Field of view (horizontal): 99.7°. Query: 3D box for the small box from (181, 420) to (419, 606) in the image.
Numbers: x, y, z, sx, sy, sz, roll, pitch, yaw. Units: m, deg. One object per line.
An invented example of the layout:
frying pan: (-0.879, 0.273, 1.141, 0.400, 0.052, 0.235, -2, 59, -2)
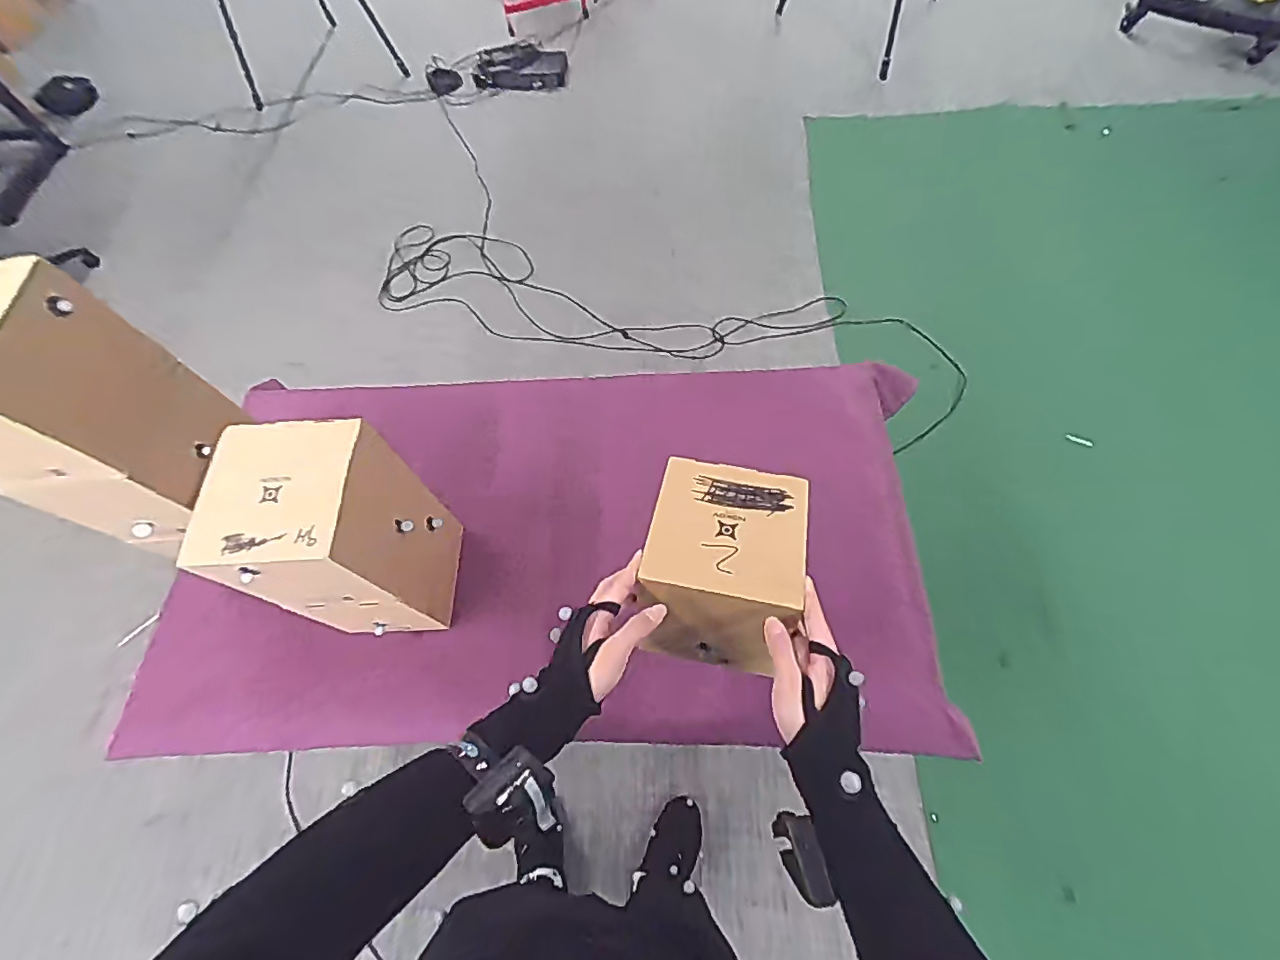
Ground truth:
small box: (-0.395, 0.046, 0.669, 0.168, 0.176, 0.179, -3, 62, 3)

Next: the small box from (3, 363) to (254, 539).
small box: (-0.656, -0.033, 0.731, 0.168, 0.176, 0.179, -4, 64, 3)

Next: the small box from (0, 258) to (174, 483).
small box: (-0.668, -0.105, 0.586, 0.168, 0.176, 0.179, -5, 63, 3)

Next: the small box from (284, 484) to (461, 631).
small box: (-0.384, 0.122, 0.815, 0.168, 0.176, 0.179, -3, 63, 3)
